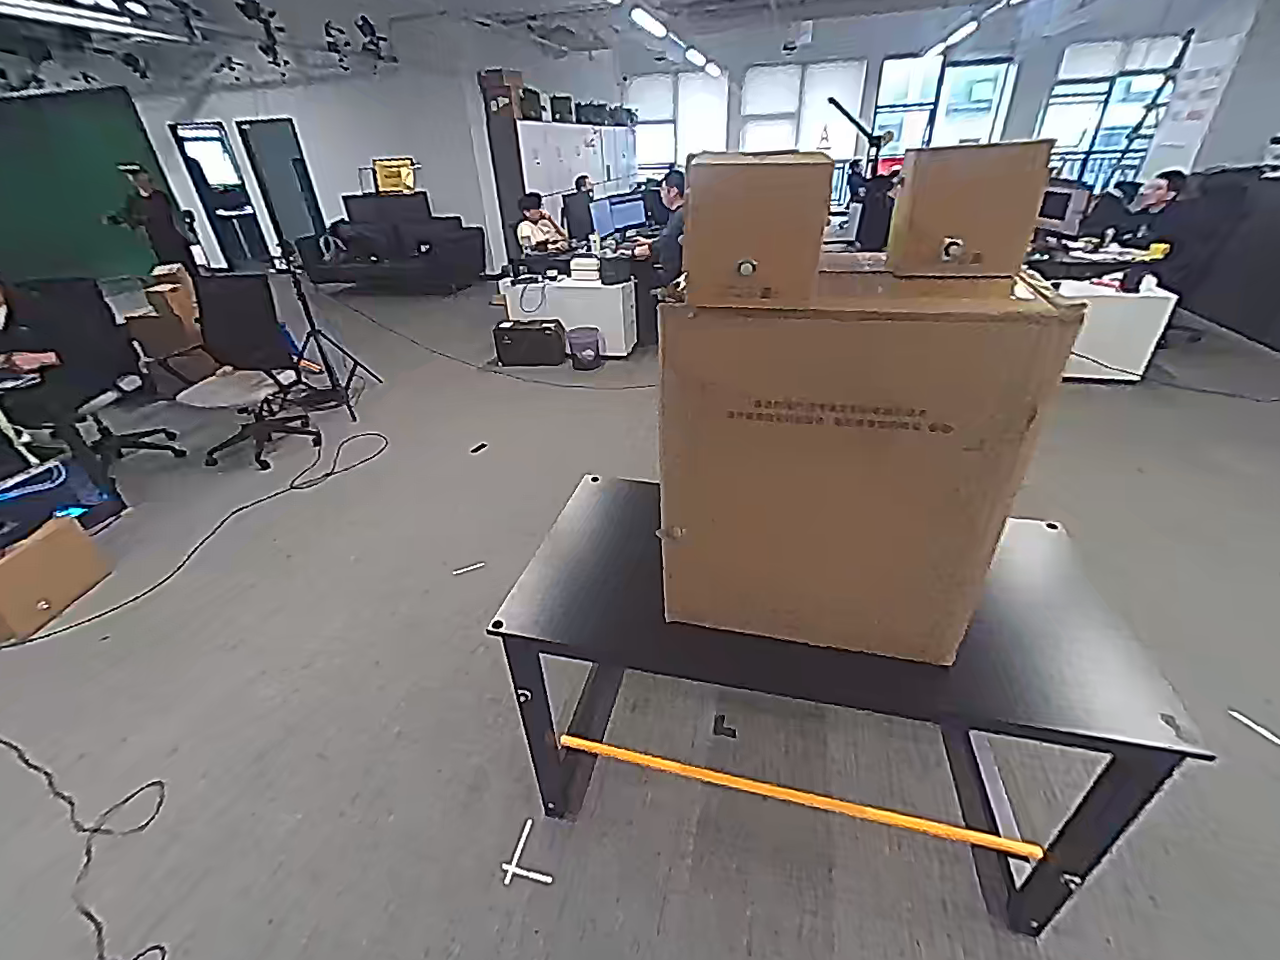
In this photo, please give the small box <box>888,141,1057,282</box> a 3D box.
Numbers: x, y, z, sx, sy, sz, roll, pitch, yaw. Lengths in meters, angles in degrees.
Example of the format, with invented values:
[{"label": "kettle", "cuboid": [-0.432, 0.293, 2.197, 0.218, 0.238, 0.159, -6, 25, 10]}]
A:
[{"label": "small box", "cuboid": [0.477, -0.402, 0.811, 0.168, 0.176, 0.179, 5, 32, 17]}]
